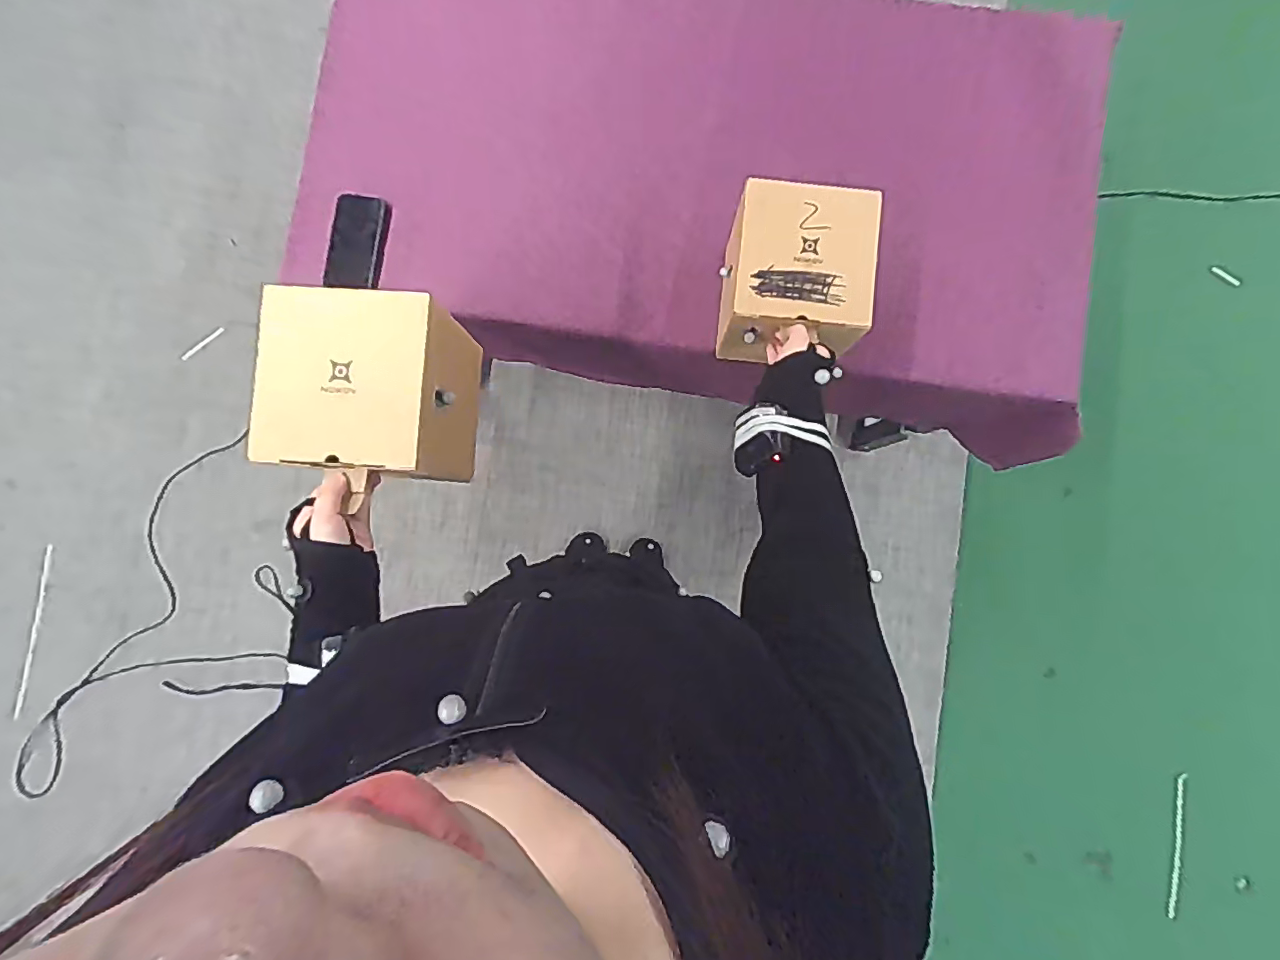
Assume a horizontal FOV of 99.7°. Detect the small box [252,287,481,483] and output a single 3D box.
[{"bbox_3d":[-0.284,-0.092,0.602,0.168,0.176,0.179,3,87,0],"label":"small box"}]
